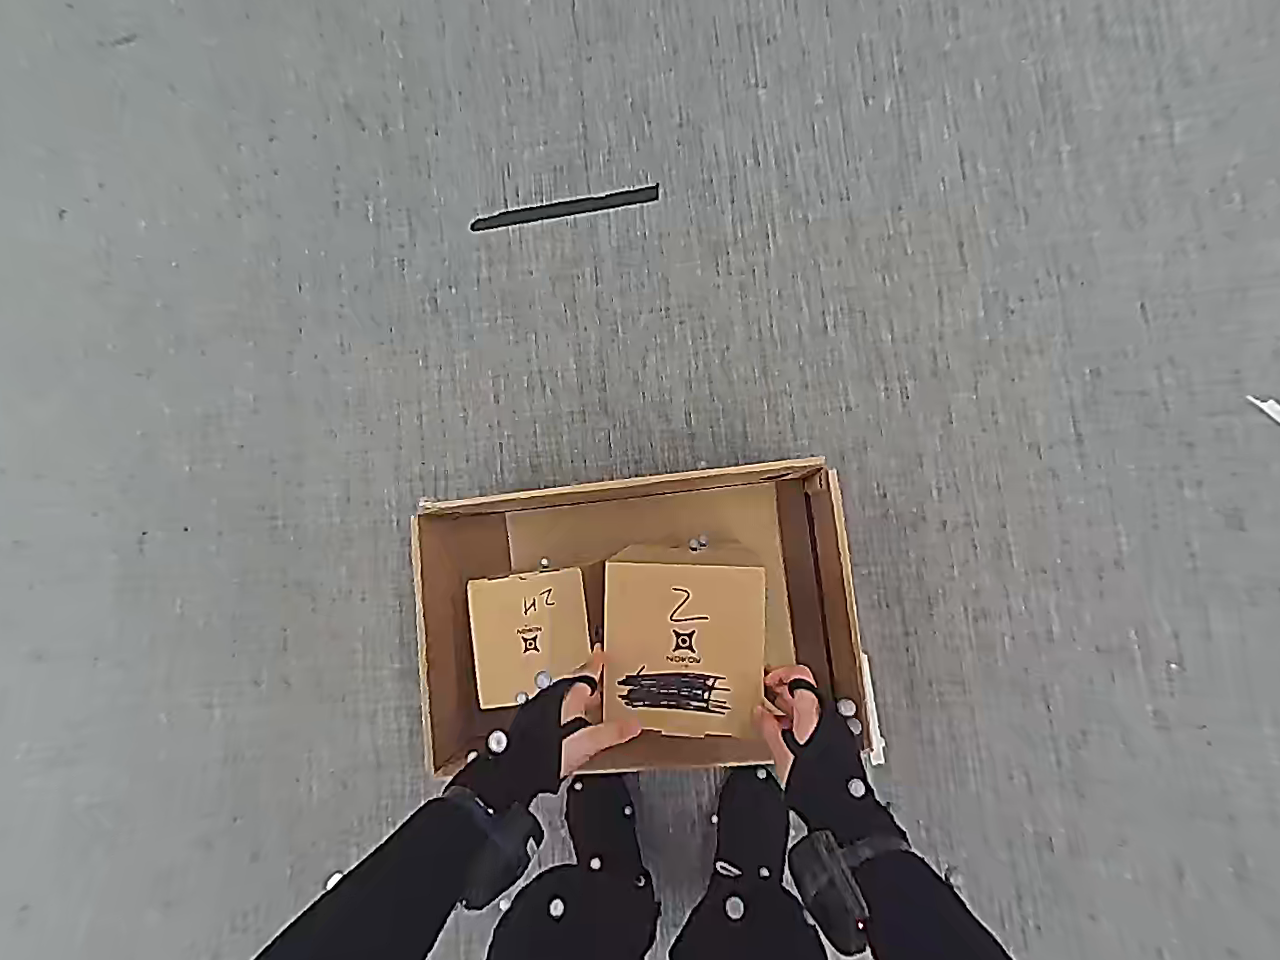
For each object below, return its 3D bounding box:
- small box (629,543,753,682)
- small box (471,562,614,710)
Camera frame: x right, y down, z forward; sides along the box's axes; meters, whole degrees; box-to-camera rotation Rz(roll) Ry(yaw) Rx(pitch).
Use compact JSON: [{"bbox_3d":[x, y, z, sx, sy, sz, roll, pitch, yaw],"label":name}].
[{"bbox_3d":[0.076,0.183,0.795,0.168,0.176,0.179,-2,86,9],"label":"small box"},{"bbox_3d":[-0.137,0.224,0.815,0.168,0.176,0.179,-8,83,4],"label":"small box"}]
